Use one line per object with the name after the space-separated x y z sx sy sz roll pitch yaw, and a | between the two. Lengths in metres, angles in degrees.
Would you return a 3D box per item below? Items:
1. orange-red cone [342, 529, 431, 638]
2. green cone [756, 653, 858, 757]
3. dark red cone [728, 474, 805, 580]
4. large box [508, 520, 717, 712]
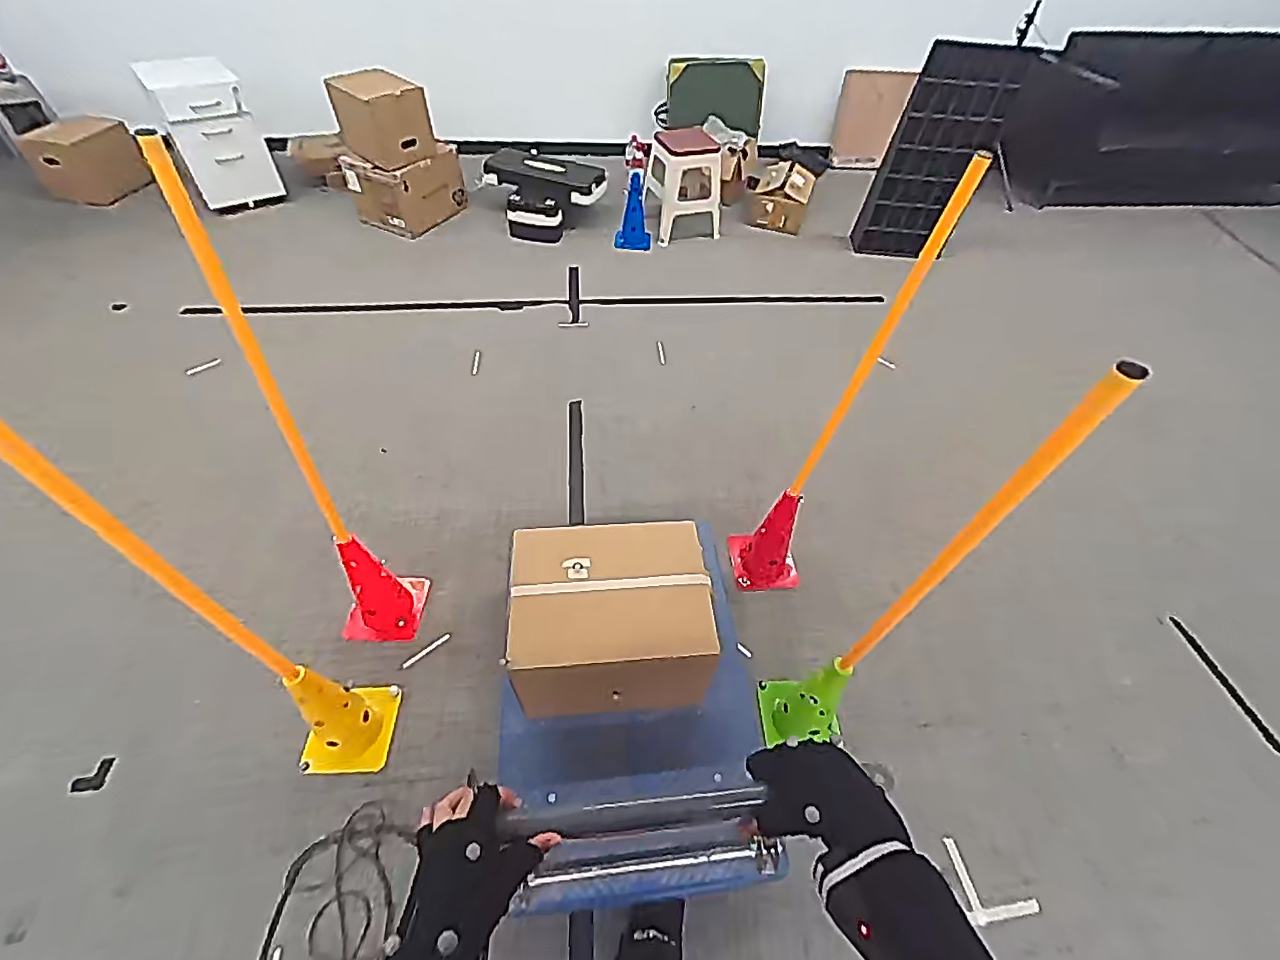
-0.713 0.245 1.432 0.198 0.360 0.199 4 48 -2 | orange-red cone
0.427 0.507 1.287 0.202 0.368 0.200 2 50 -4 | green cone
0.404 0.126 1.586 0.201 0.394 0.202 -1 50 -7 | dark red cone
-0.066 0.312 1.229 0.408 0.320 0.320 -3 50 -5 | large box
